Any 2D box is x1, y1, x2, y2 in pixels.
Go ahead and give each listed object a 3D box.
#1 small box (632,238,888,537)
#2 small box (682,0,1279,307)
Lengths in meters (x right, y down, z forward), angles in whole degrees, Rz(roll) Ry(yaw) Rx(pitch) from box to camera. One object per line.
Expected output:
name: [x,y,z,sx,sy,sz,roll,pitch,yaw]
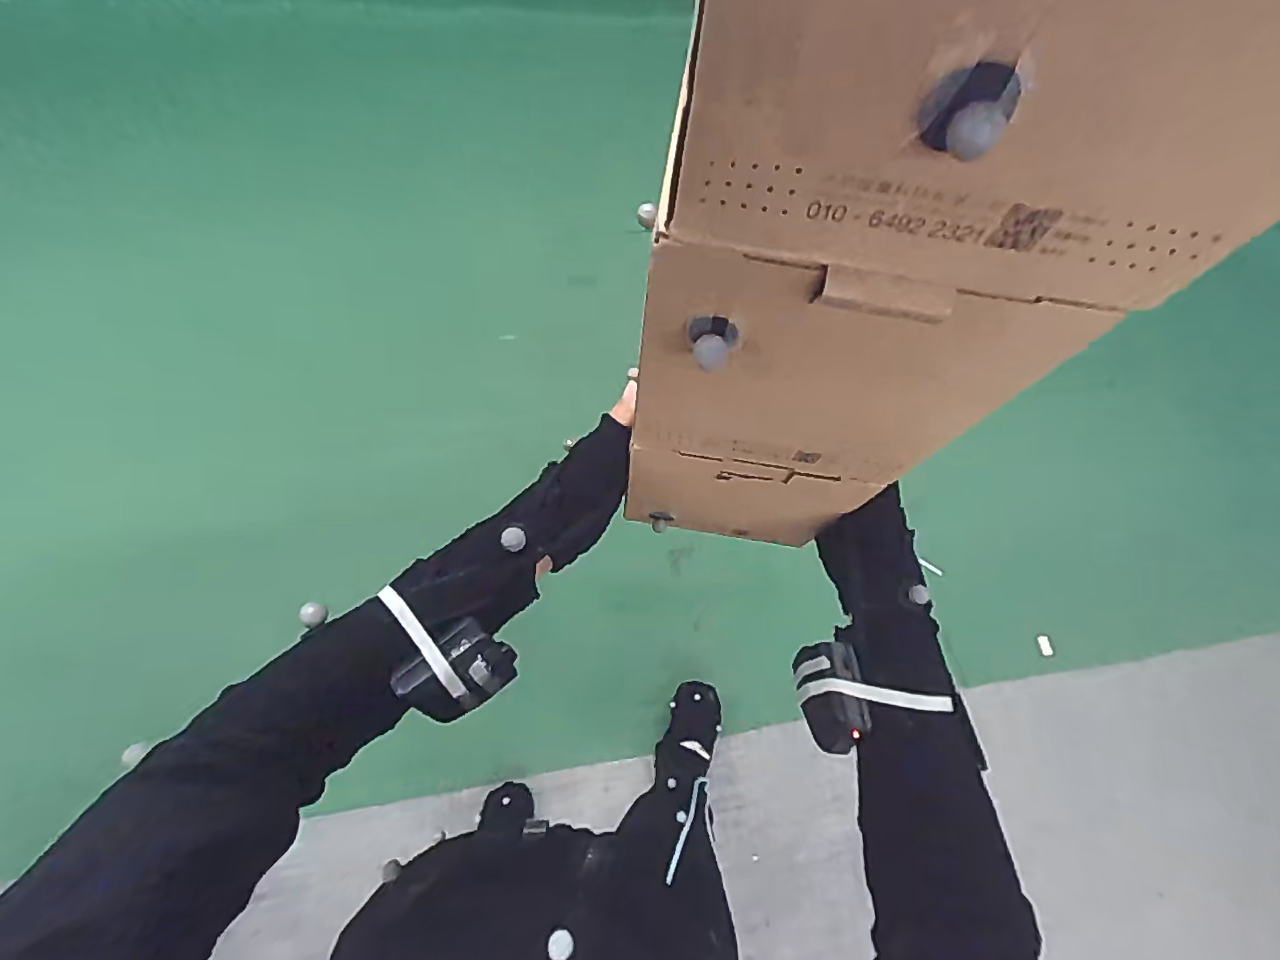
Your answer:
small box: [0.086,-0.062,0.449,0.168,0.176,0.179,9,69,0]
small box: [0.107,-0.178,0.144,0.168,0.176,0.179,7,70,-1]
